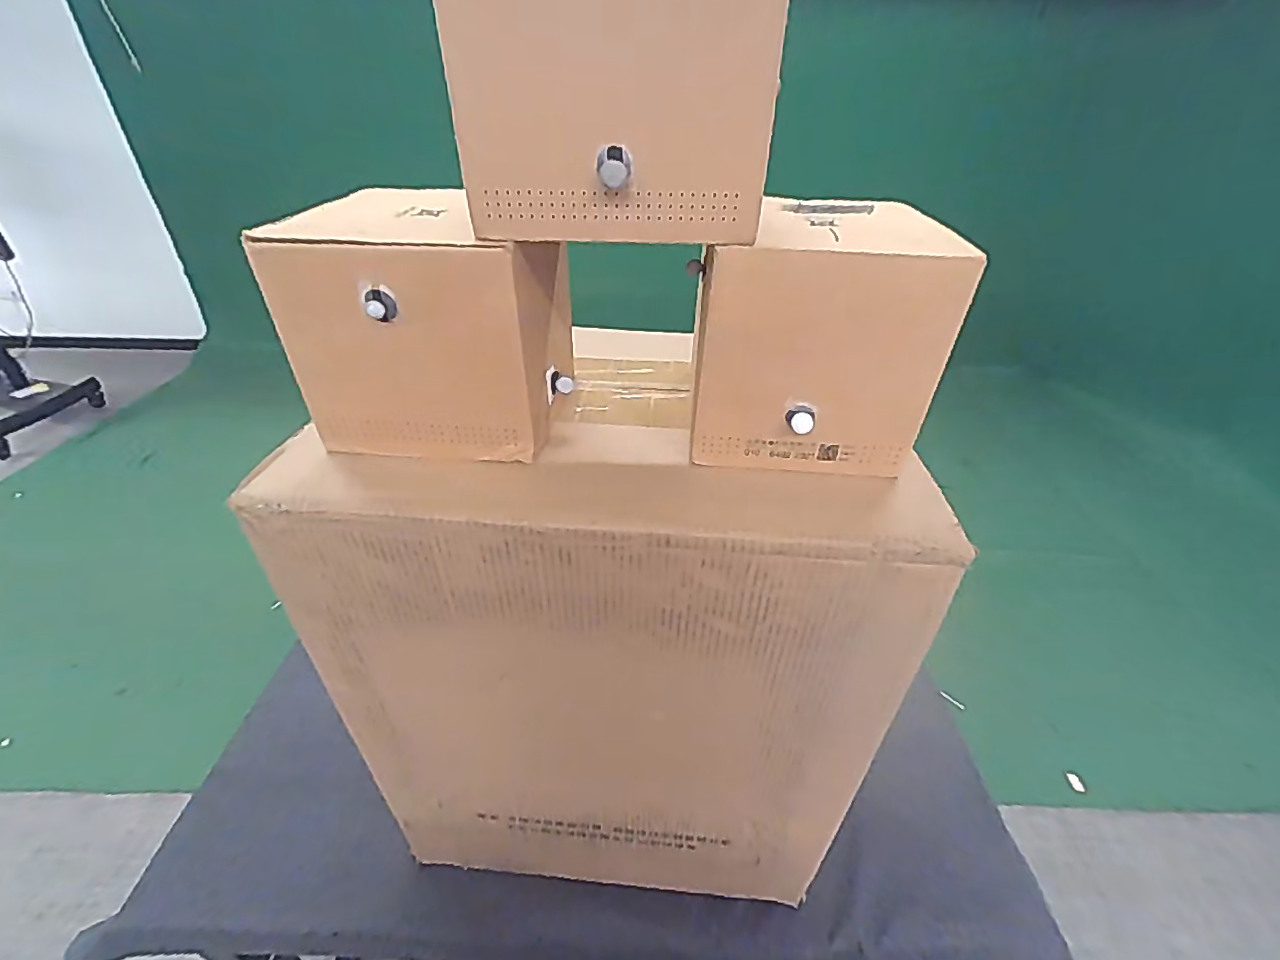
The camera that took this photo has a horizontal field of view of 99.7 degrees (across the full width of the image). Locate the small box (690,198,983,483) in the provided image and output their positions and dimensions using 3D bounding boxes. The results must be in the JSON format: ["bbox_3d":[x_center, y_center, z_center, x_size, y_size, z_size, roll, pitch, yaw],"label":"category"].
[{"bbox_3d":[0.130,-0.120,0.444,0.168,0.176,0.179,4,39,2],"label":"small box"}]

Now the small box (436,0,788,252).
[{"bbox_3d":[-0.013,-0.254,0.346,0.179,0.176,0.168,2,38,0],"label":"small box"}]

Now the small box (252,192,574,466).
[{"bbox_3d":[-0.156,-0.126,0.447,0.179,0.176,0.168,5,39,2],"label":"small box"}]
